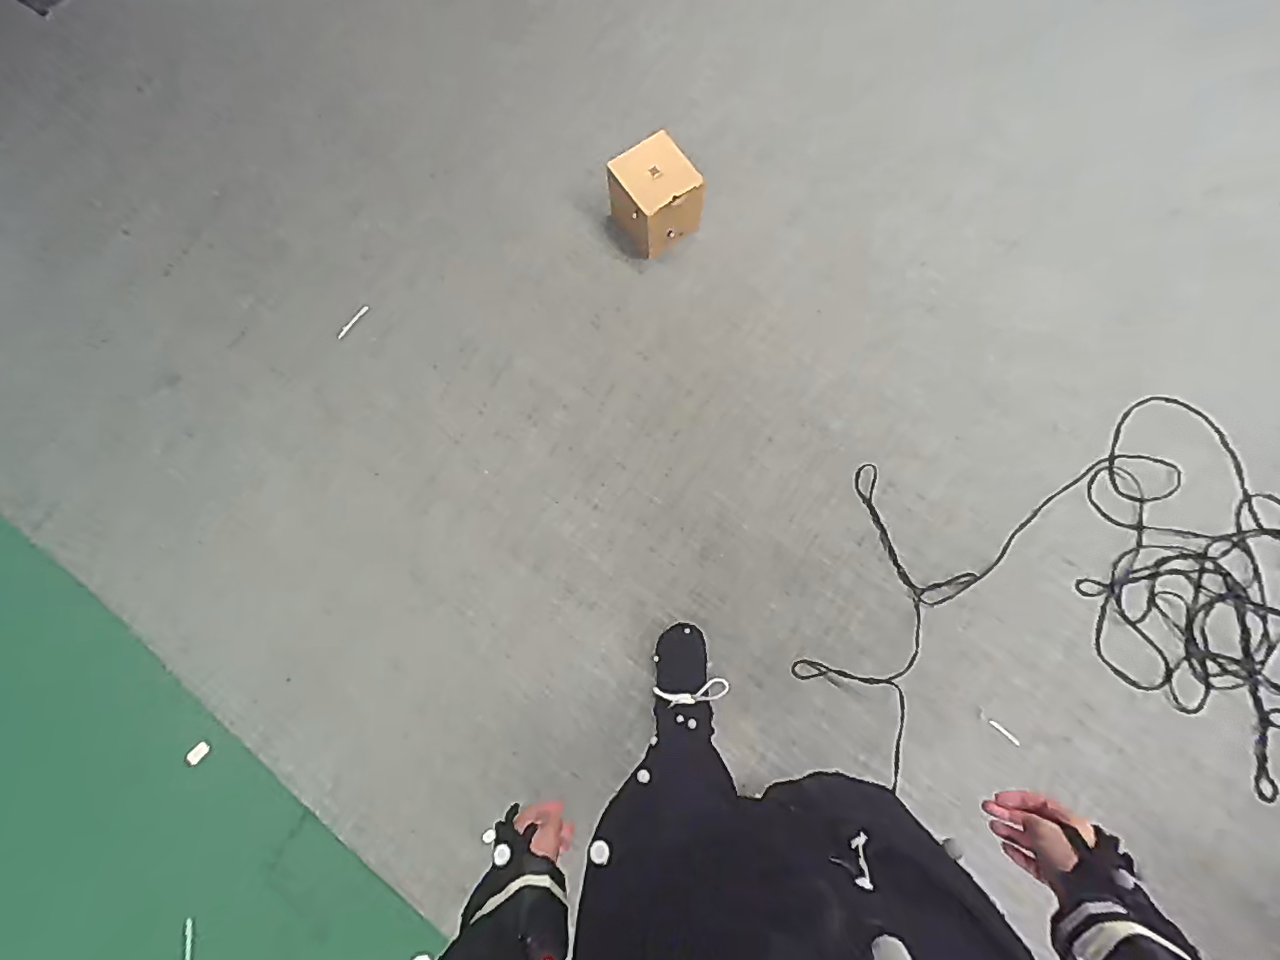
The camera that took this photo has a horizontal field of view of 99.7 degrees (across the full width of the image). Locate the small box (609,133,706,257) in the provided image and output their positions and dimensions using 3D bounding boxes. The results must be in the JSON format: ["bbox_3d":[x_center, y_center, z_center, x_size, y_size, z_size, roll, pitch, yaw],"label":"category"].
[{"bbox_3d":[0.041,-0.694,1.331,0.168,0.176,0.179,-34,79,-6],"label":"small box"}]
